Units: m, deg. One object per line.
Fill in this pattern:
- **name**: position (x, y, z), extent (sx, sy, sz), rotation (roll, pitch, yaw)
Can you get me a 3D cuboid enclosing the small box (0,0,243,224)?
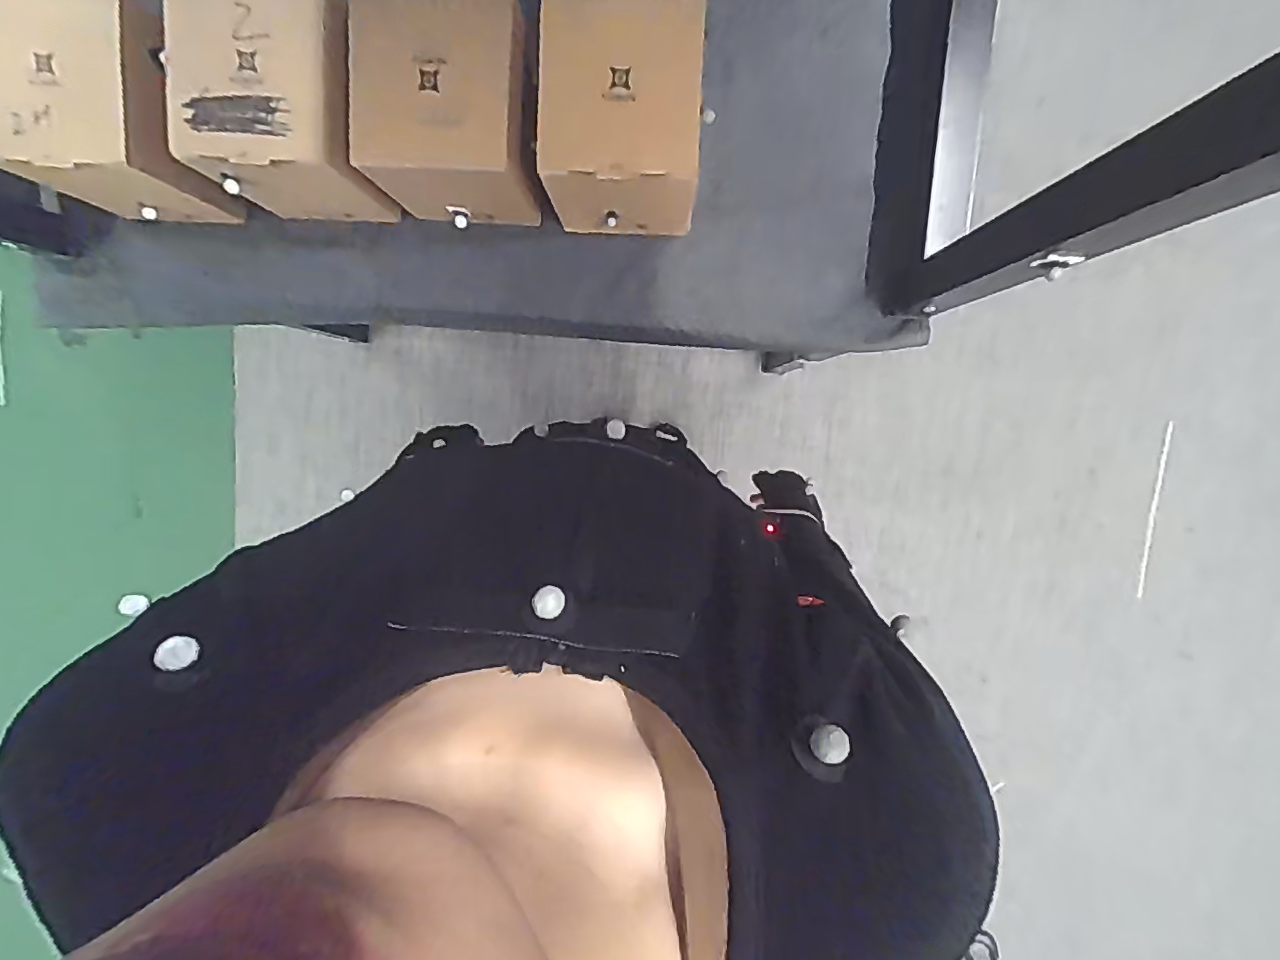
- **small box**: position (-0.601, -0.422, 0.628), extent (0.168, 0.176, 0.179), rotation (3, 96, 1)
